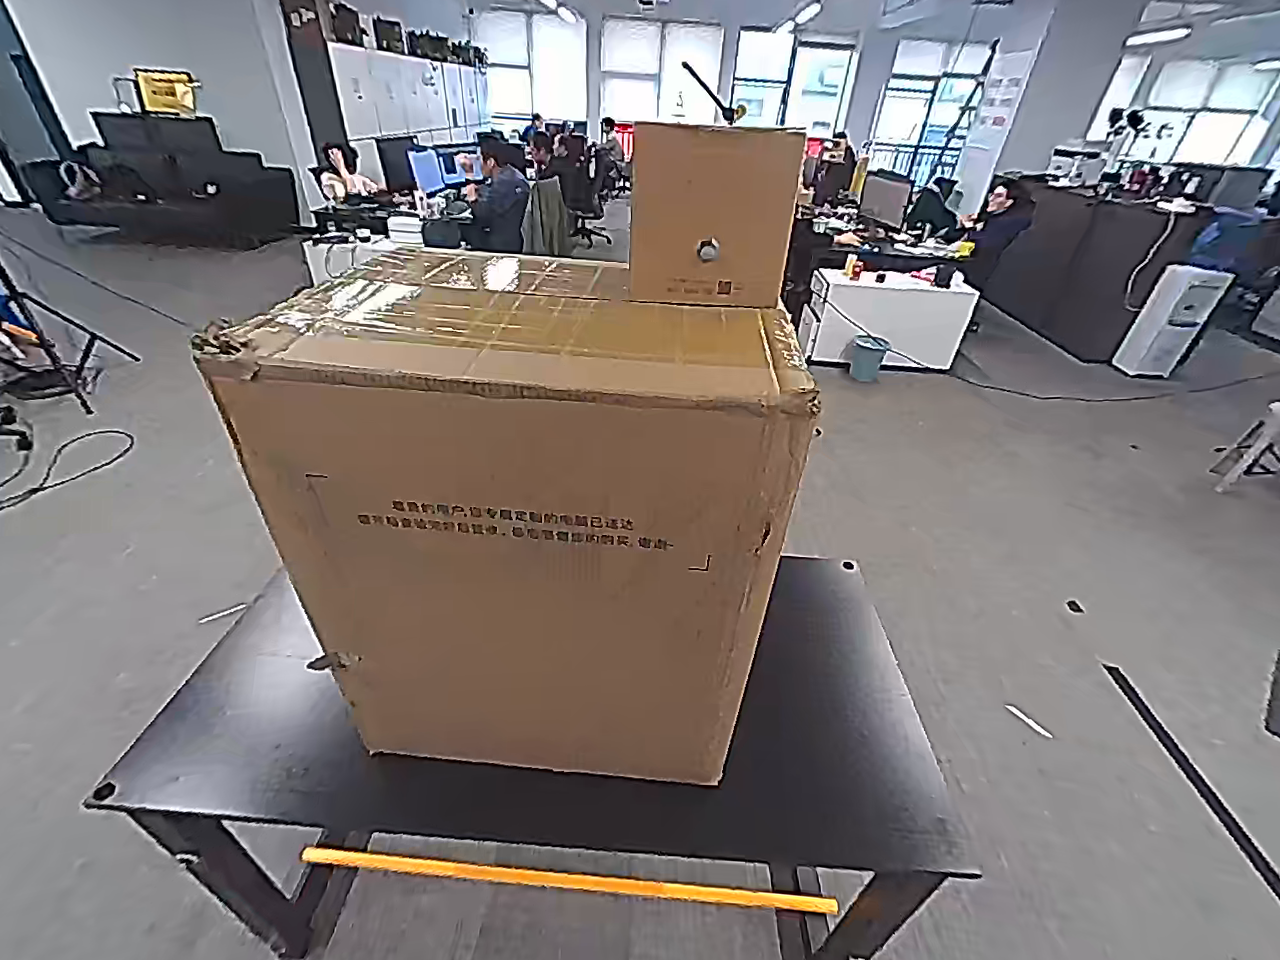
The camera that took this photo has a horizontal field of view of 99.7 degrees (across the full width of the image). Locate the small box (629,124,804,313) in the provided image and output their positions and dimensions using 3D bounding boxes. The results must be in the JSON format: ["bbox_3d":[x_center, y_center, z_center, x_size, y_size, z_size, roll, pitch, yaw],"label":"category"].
[{"bbox_3d":[0.075,-0.302,0.624,0.168,0.176,0.179,3,33,1],"label":"small box"}]
